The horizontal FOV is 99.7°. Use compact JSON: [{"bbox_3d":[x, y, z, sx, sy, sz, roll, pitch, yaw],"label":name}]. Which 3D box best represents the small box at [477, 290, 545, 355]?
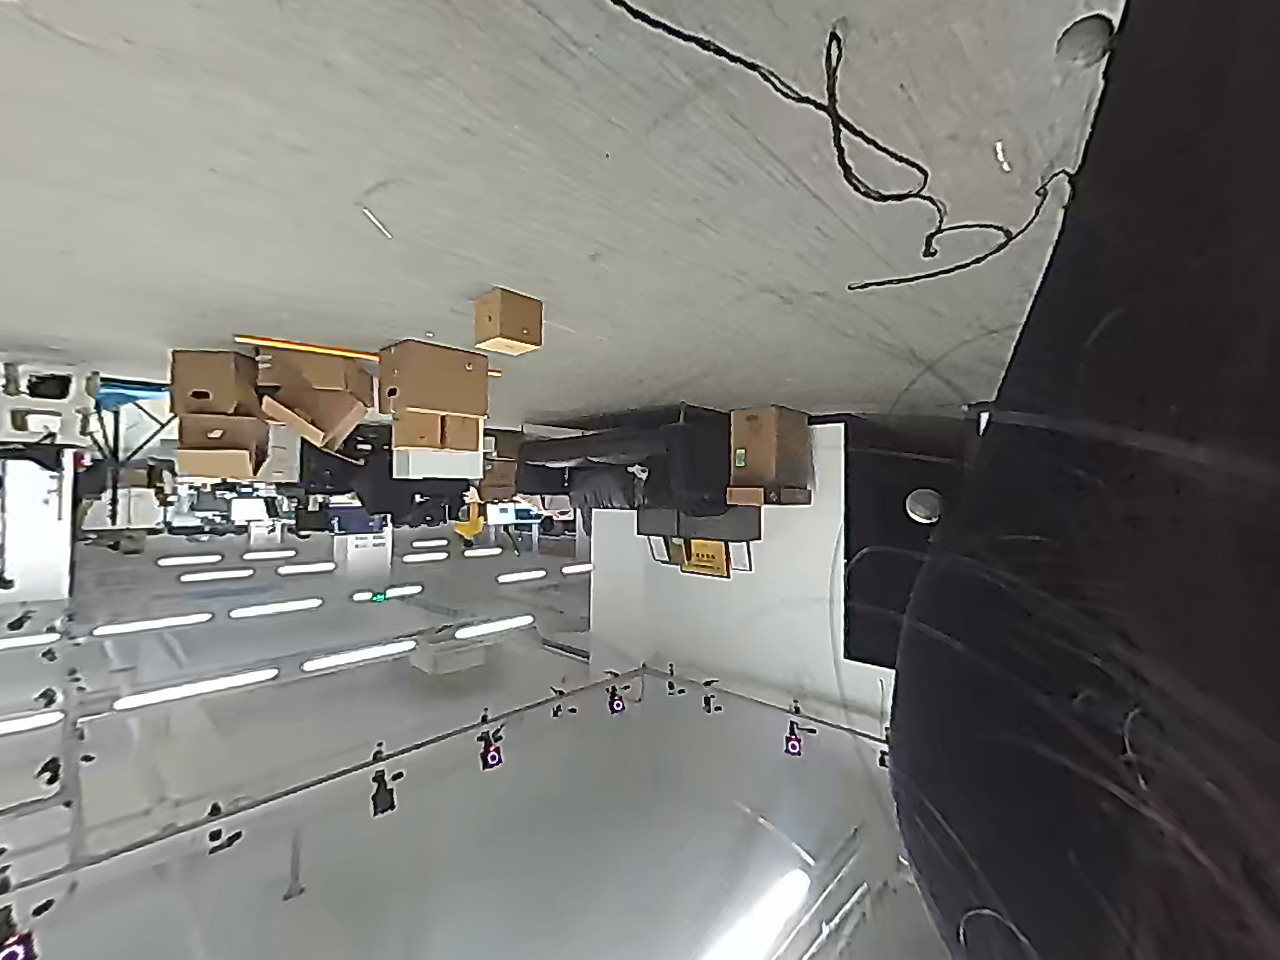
[{"bbox_3d":[-0.450,-0.546,1.879,0.168,0.176,0.179,-1,179,44],"label":"small box"}]
